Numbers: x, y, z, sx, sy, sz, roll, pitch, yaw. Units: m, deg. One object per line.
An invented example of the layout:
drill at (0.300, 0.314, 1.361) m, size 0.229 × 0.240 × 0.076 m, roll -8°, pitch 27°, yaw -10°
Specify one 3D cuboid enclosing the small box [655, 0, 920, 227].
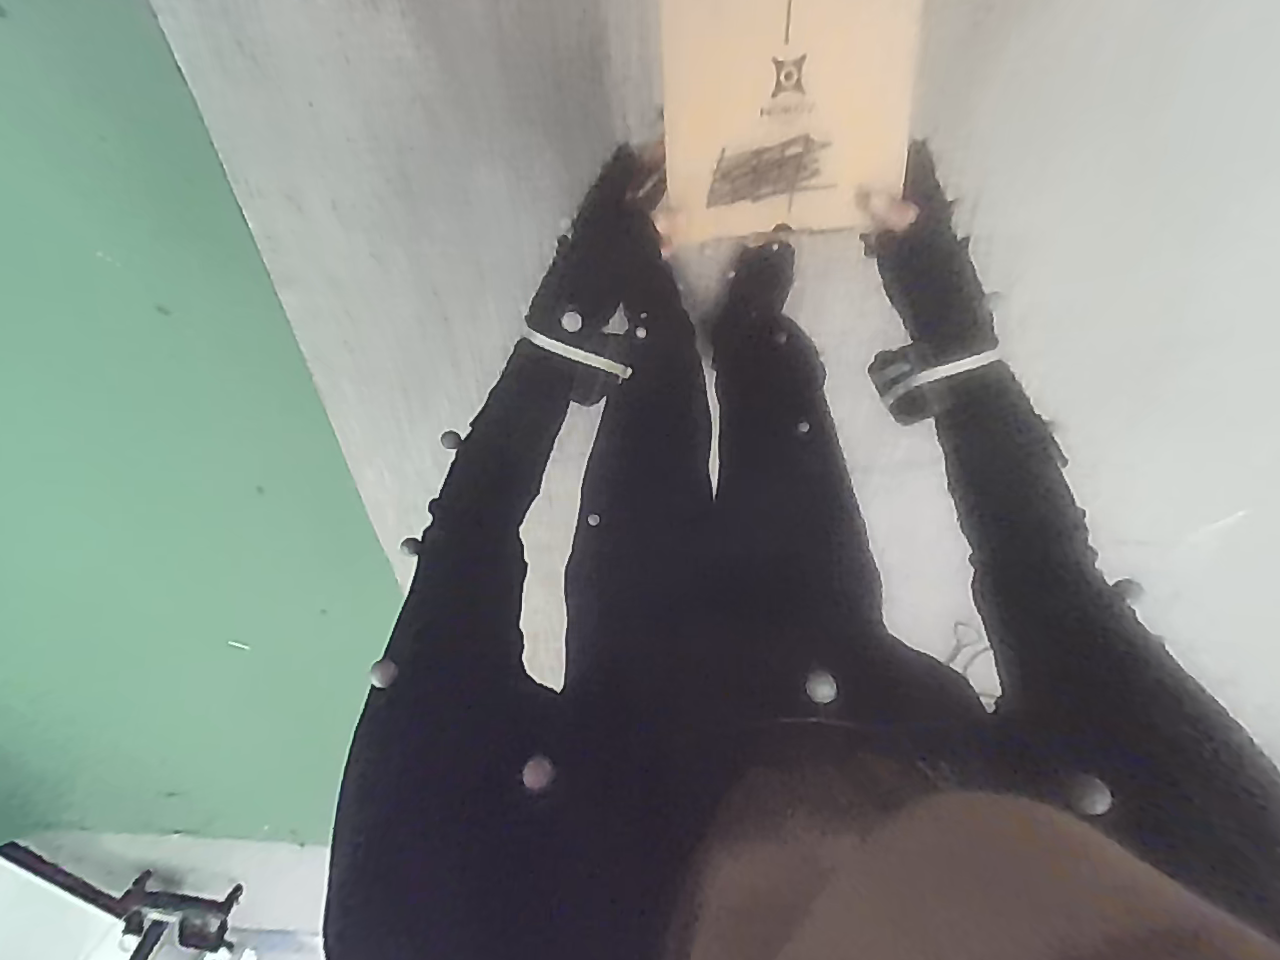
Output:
small box at (0.100, -0.299, 0.425) m, size 0.168 × 0.176 × 0.179 m, roll -2°, pitch 113°, yaw 5°
